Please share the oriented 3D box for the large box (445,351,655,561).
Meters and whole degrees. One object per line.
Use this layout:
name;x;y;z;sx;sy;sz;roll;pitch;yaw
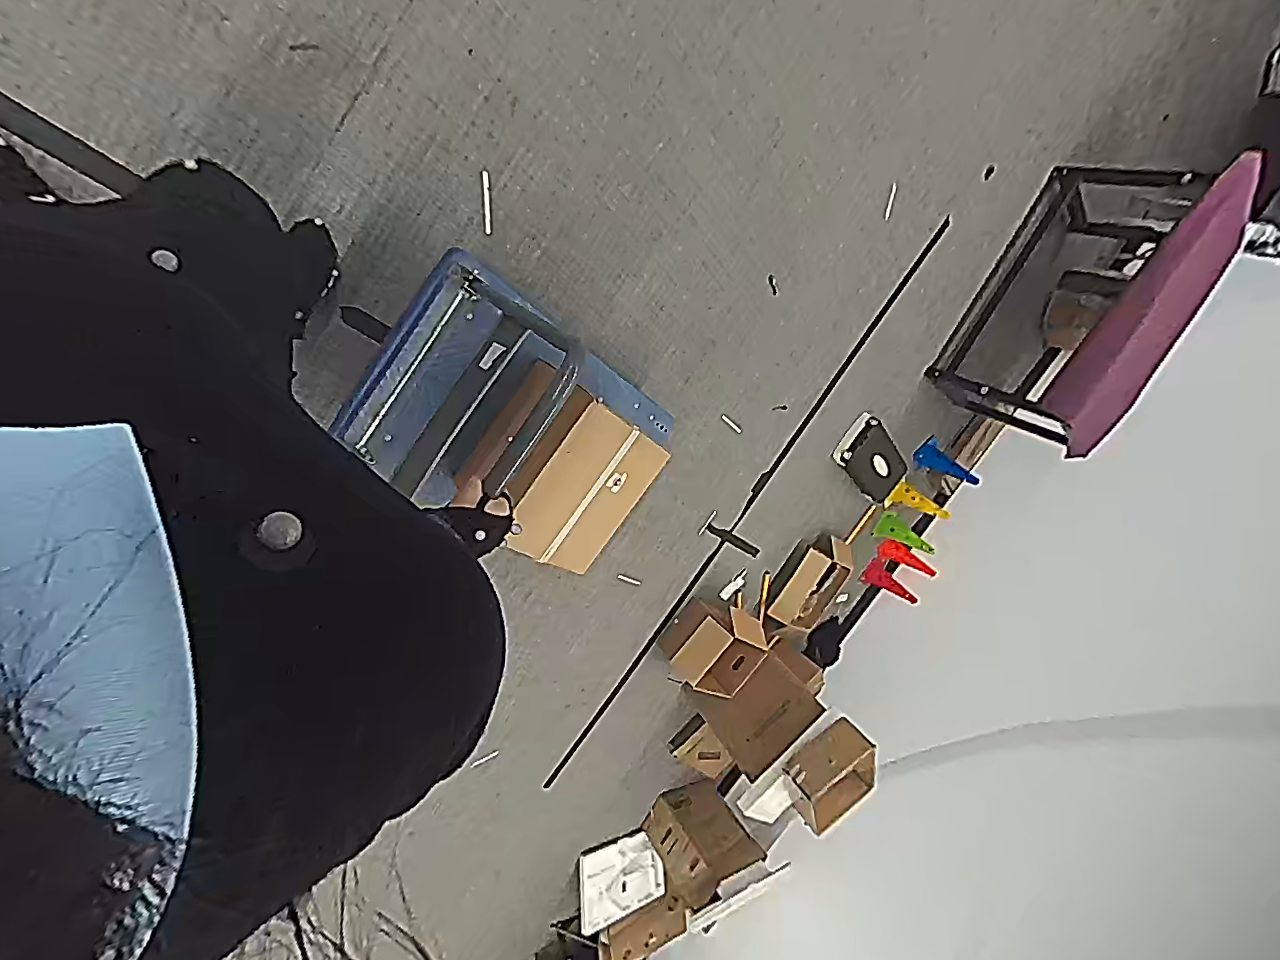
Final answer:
large box;-0.245;-0.063;1.432;0.320;0.320;0.408;32;94;-46
